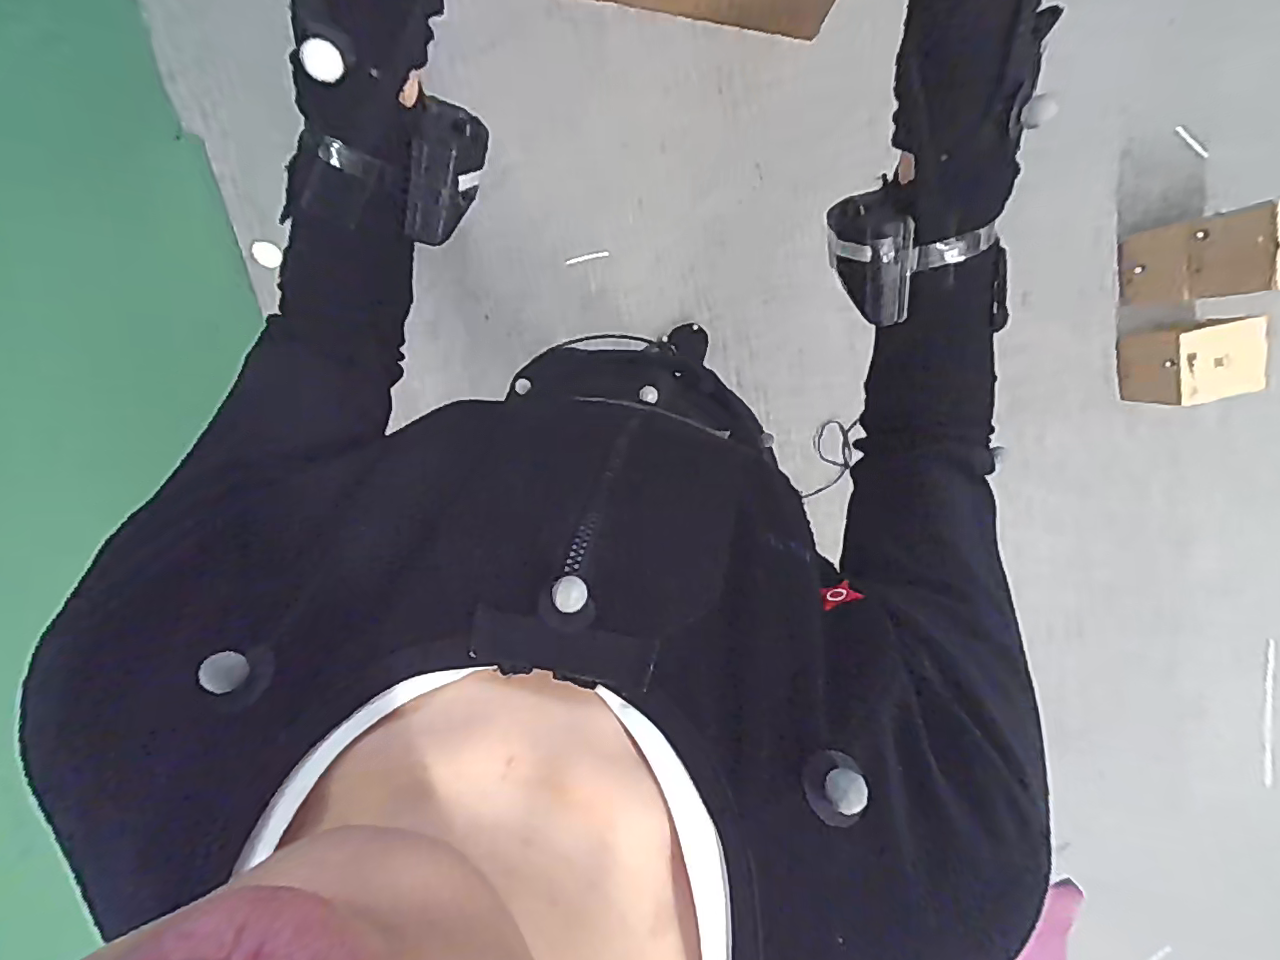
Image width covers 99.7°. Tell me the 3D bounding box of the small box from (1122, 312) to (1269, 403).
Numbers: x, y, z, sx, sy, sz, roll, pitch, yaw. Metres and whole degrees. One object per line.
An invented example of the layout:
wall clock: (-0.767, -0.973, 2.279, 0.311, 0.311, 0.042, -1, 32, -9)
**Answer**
small box: (1.279, -0.284, 1.256, 0.179, 0.176, 0.168, -13, 102, 5)
